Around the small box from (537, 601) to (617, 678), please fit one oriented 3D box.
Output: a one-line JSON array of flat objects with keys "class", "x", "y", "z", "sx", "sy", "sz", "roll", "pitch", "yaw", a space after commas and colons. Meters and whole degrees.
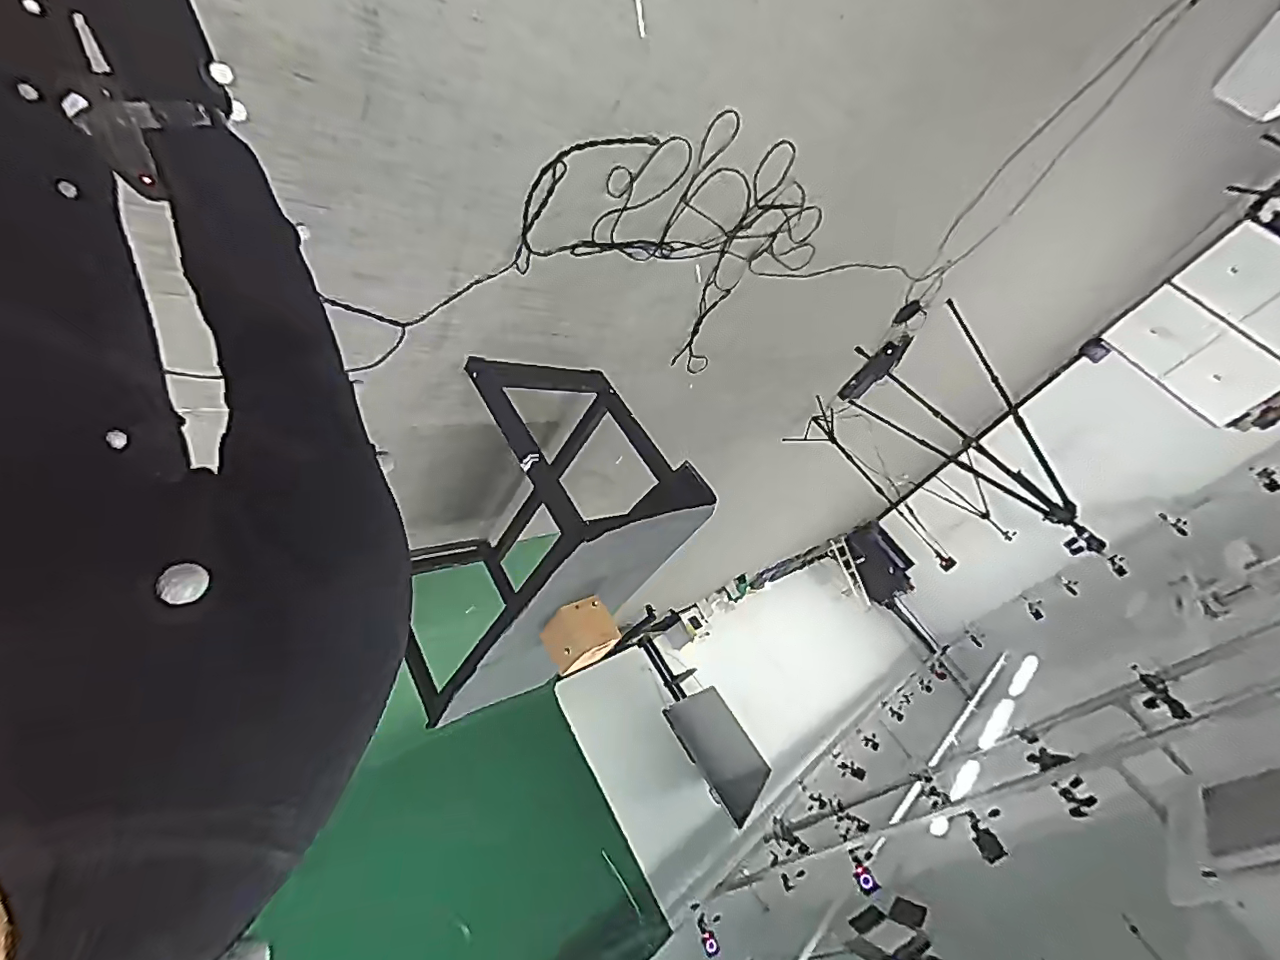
[{"class": "small box", "x": -0.215, "y": 0.520, "z": 1.796, "sx": 0.168, "sy": 0.176, "sz": 0.179, "roll": -8, "pitch": 146, "yaw": -46}]
